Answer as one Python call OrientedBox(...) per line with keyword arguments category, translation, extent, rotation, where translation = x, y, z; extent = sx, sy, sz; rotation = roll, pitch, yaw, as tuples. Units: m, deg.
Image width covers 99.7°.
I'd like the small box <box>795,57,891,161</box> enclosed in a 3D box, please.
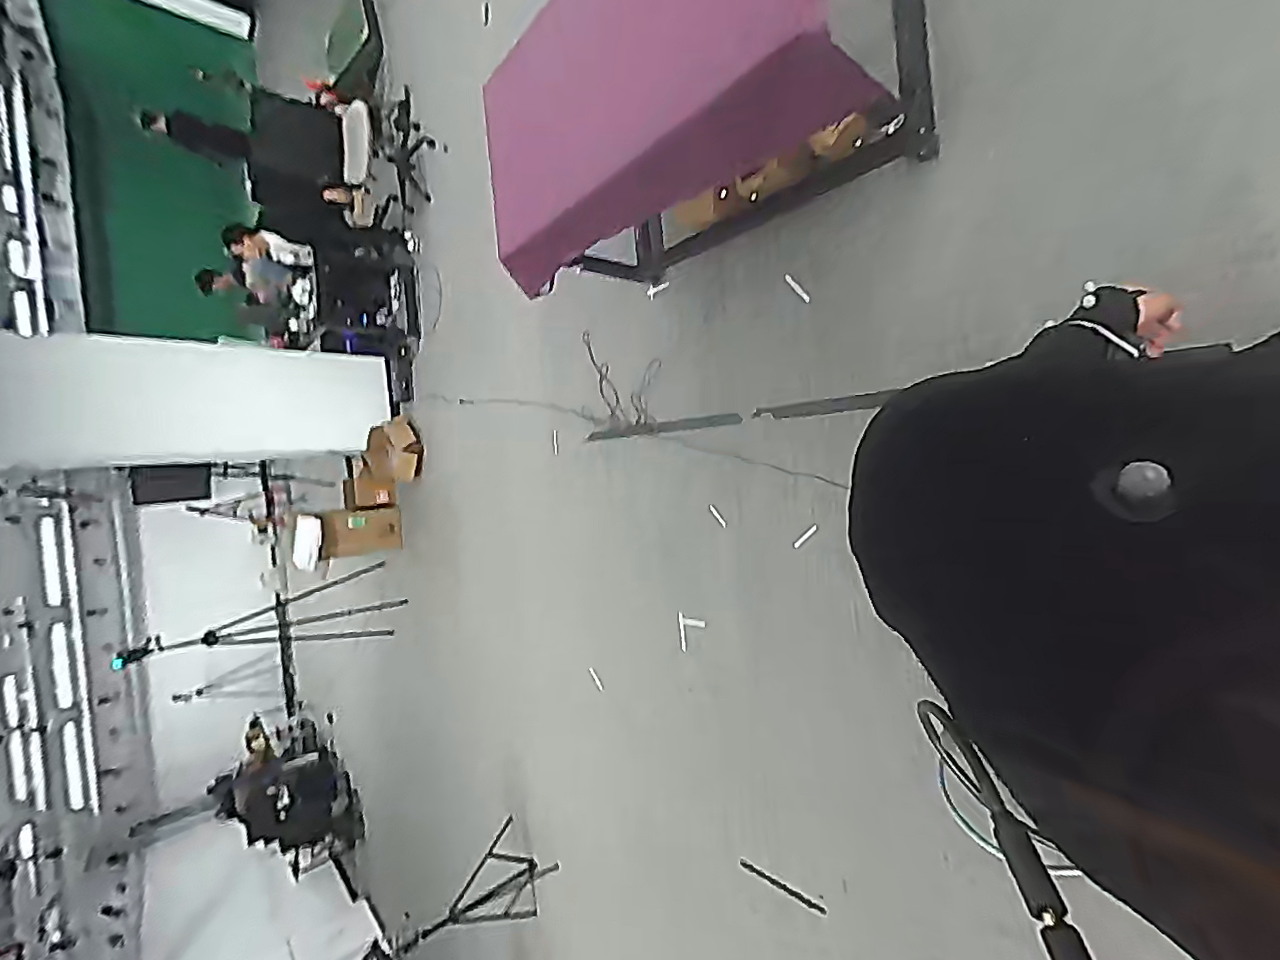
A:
OrientedBox(category="small box", translation=(0.603, -1.090, 1.605), extent=(0.168, 0.176, 0.179), rotation=(-44, 62, 43))
